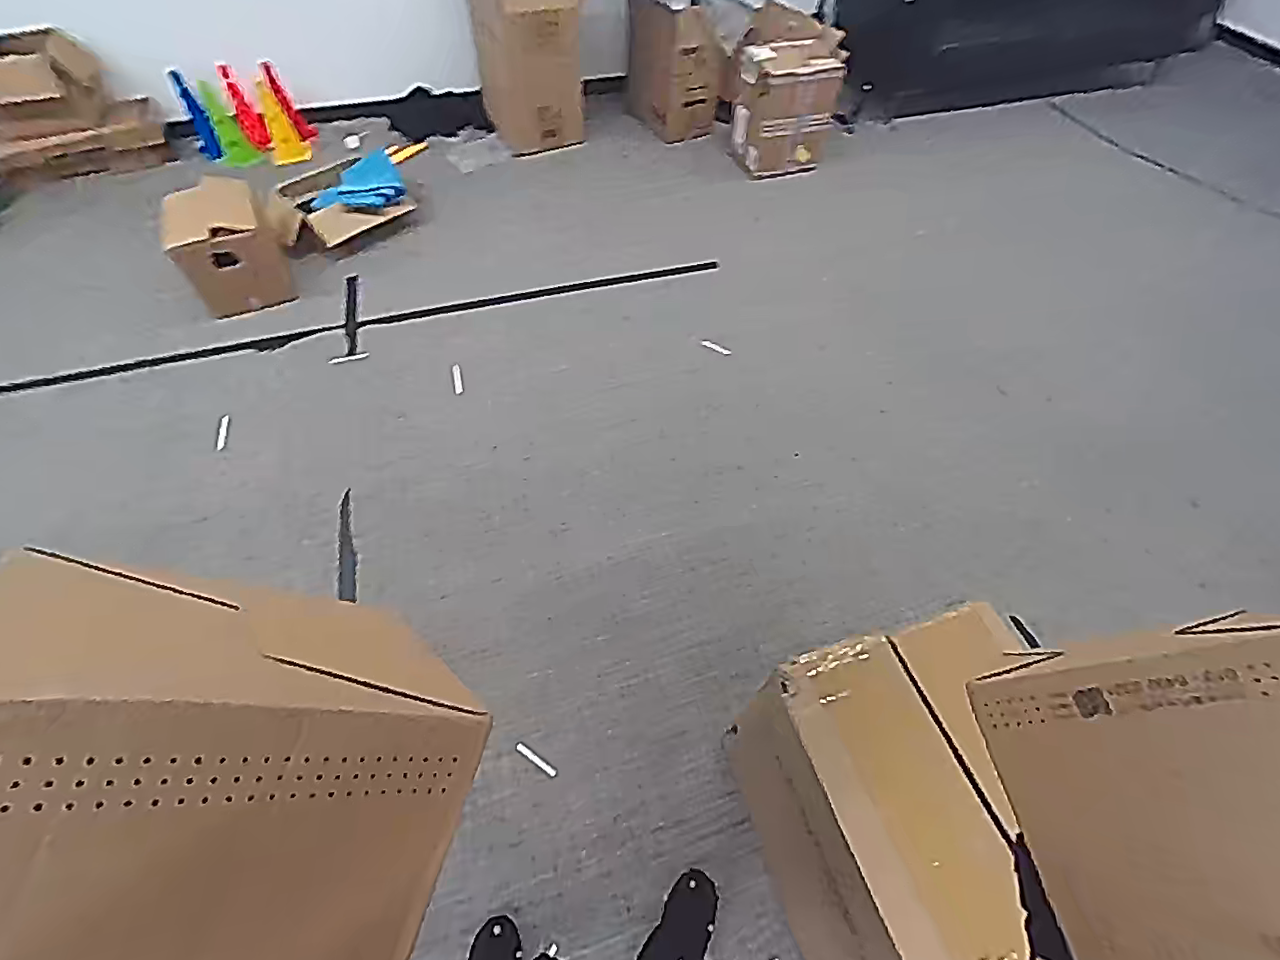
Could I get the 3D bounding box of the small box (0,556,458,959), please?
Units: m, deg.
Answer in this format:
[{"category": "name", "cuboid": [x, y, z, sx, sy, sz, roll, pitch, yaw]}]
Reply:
[{"category": "small box", "cuboid": [-0.207, 0.144, 0.236, 0.168, 0.179, 0.176, 7, 76, 49]}]
